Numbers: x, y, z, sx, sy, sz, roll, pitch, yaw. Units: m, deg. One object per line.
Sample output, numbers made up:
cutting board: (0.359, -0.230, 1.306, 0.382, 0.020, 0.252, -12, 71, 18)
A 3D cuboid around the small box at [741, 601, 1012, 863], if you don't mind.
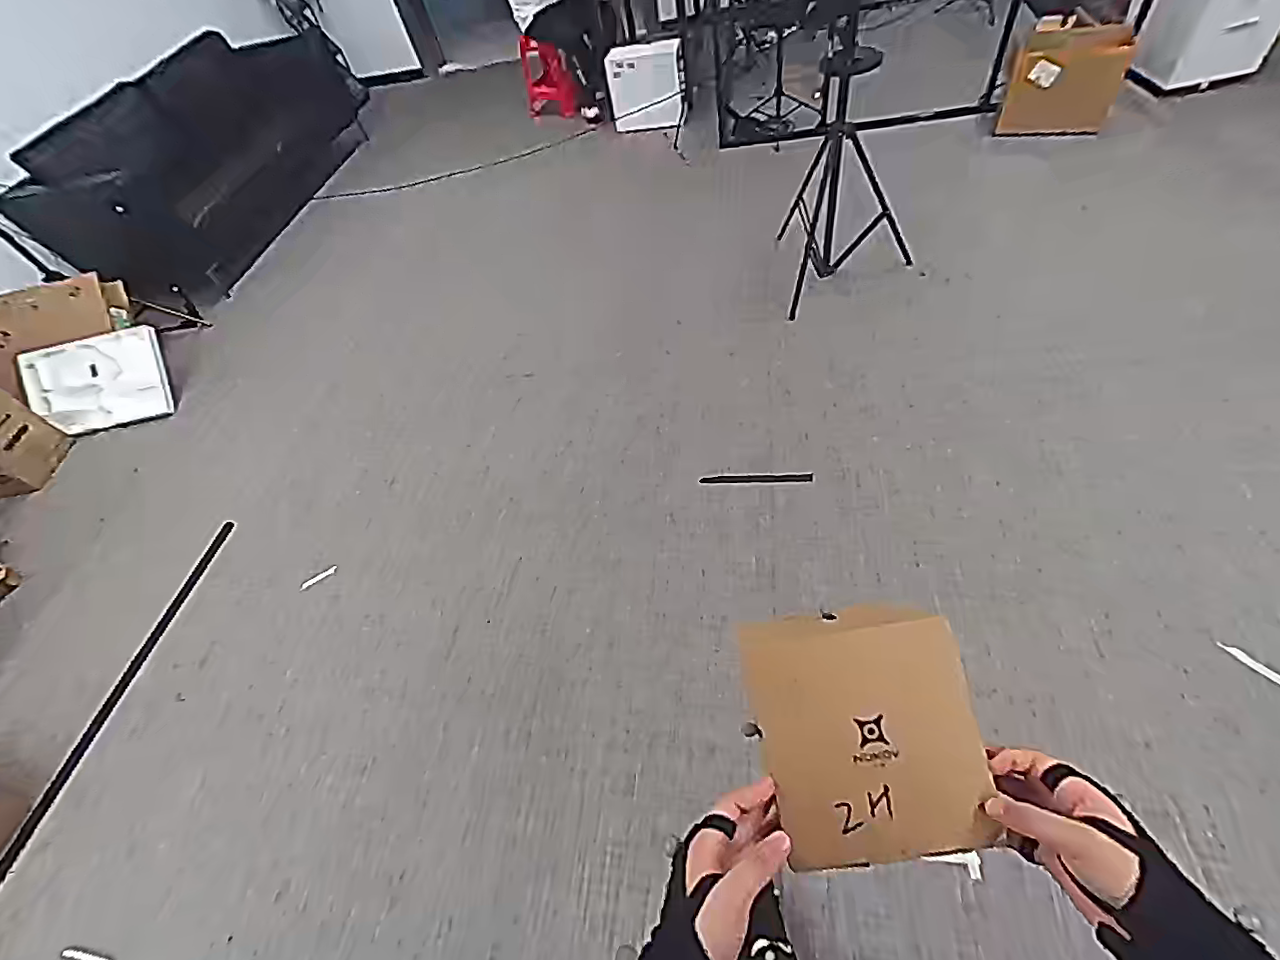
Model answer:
small box: (0.195, 0.212, 0.505, 0.168, 0.176, 0.179, -10, 80, 5)
